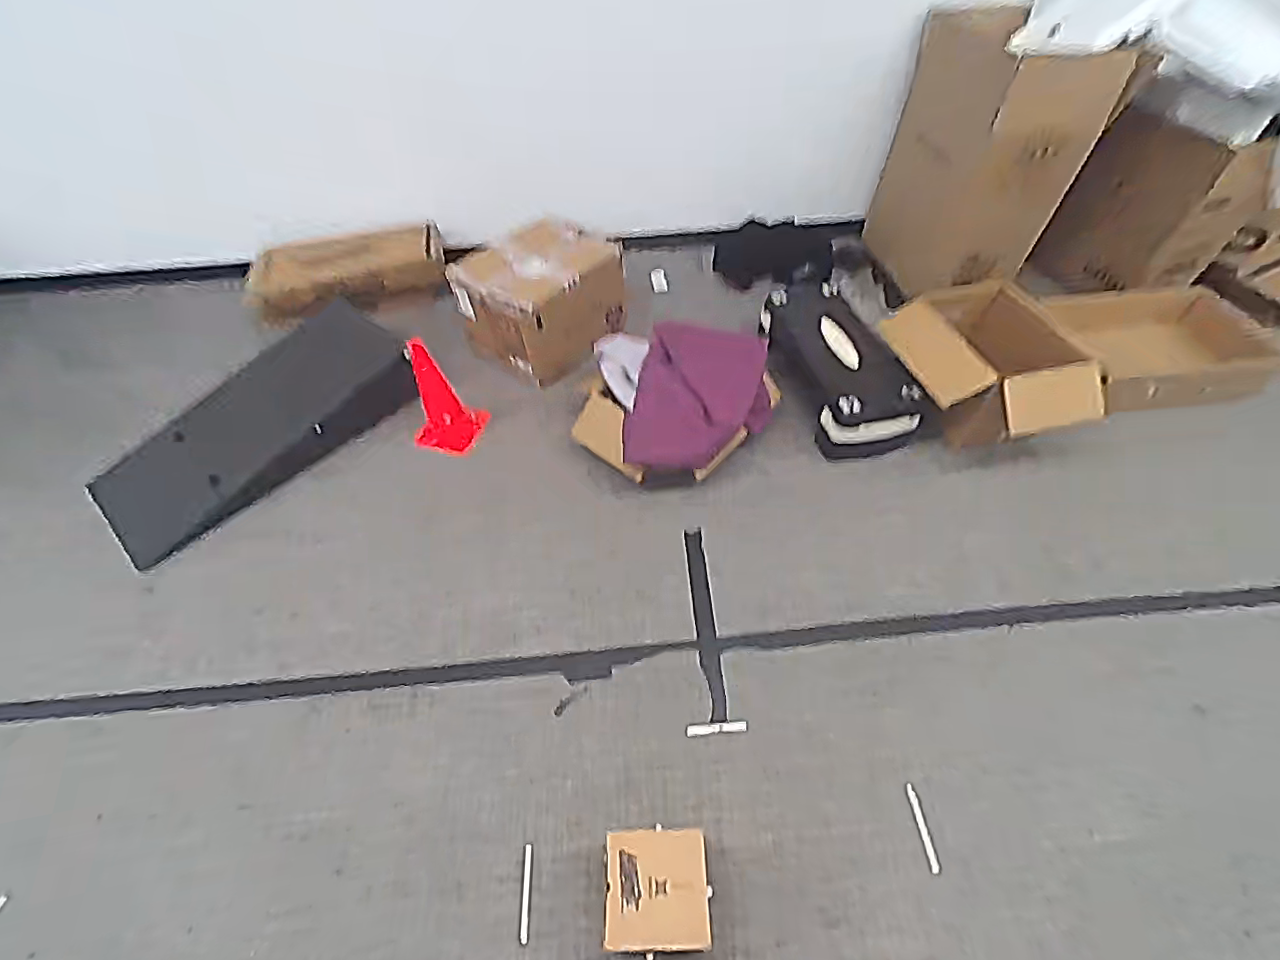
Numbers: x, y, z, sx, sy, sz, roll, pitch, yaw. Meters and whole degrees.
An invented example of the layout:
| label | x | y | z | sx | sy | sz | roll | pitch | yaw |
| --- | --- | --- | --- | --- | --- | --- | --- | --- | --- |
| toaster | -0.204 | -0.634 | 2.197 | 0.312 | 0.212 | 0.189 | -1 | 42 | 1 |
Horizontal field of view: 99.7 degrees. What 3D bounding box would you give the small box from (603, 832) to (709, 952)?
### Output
| label | x | y | z | sx | sy | sz | roll | pitch | yaw |
| --- | --- | --- | --- | --- | --- | --- | --- | --- | --- |
| small box | 0.029 | 0.747 | 0.984 | 0.179 | 0.176 | 0.168 | -1 | 52 | 1 |
